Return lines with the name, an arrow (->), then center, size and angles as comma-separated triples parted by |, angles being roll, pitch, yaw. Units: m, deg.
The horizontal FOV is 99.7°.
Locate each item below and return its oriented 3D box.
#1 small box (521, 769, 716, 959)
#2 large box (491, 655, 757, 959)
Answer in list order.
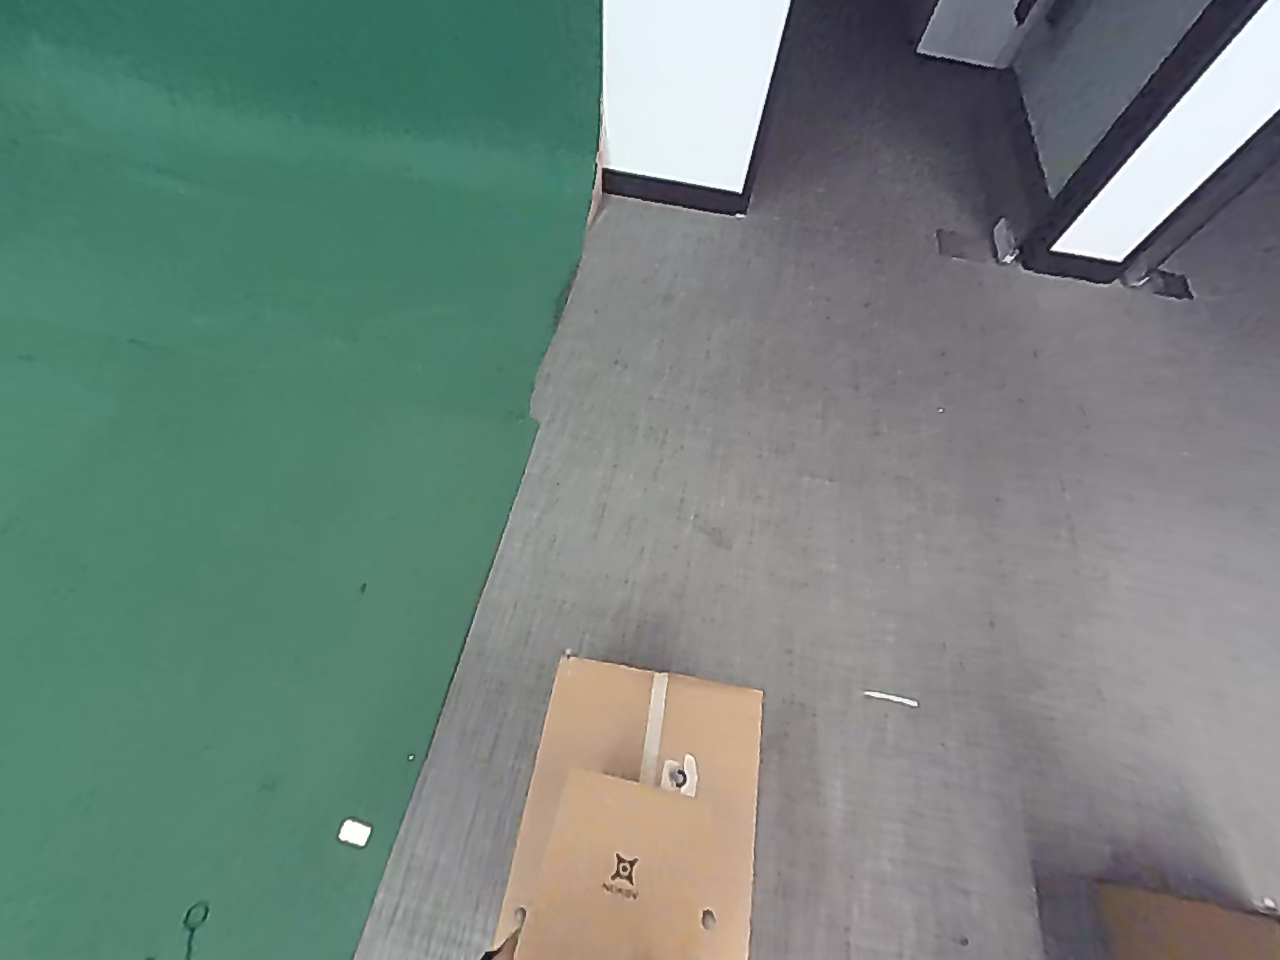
small box -> -0.019, 0.456, 0.592 | 0.168, 0.176, 0.179 | 11, 42, 6
large box -> -0.008, 0.535, 0.858 | 0.320, 0.320, 0.408 | 10, 61, 2
